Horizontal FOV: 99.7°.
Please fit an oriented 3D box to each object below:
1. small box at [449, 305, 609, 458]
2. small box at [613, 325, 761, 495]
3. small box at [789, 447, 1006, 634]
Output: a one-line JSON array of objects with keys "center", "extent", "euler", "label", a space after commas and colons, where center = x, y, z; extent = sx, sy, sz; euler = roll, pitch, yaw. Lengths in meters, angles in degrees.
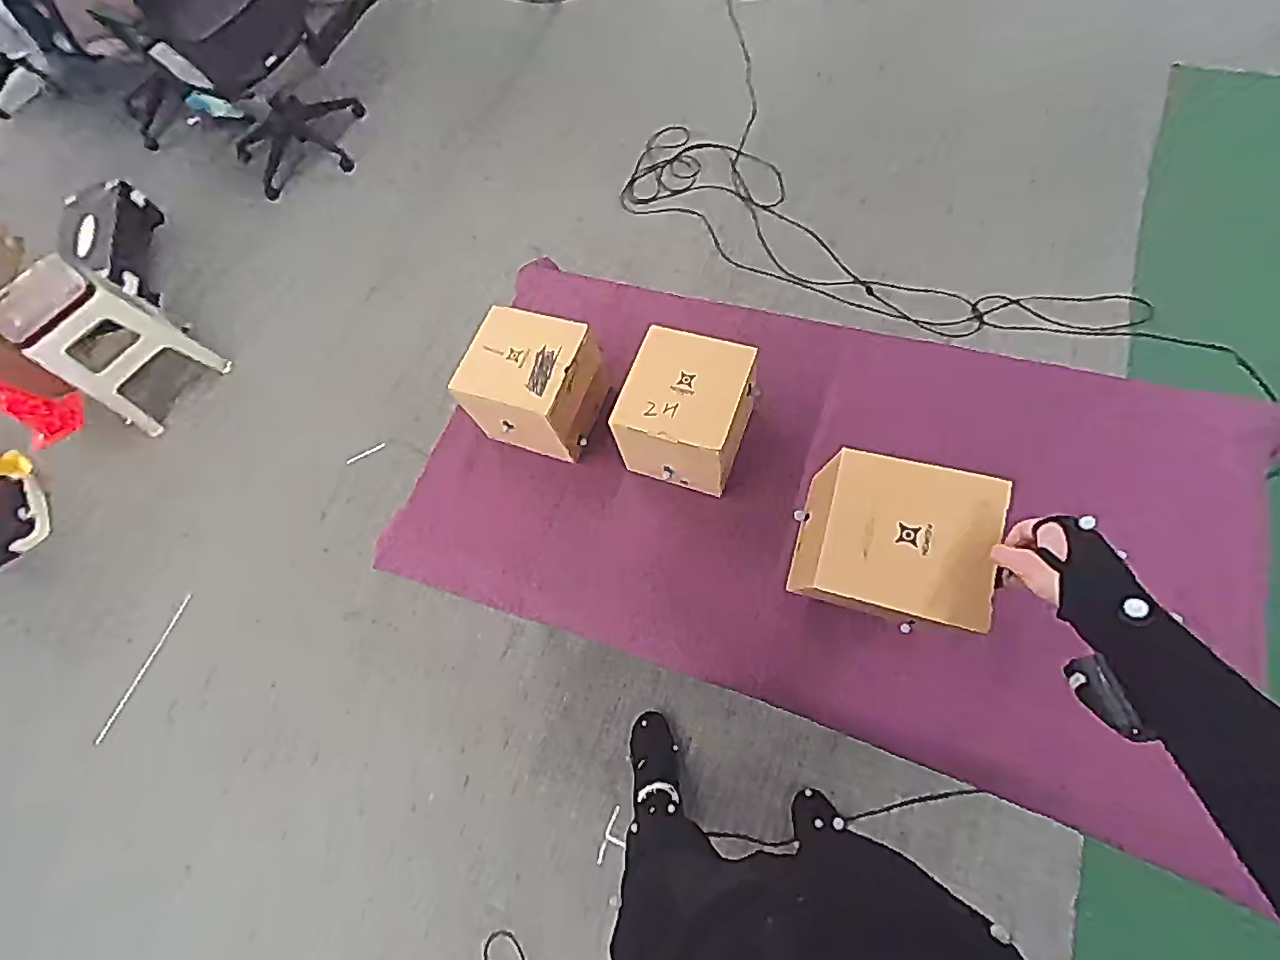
[{"center": [-0.167, -0.153, 0.886], "extent": [0.179, 0.176, 0.168], "euler": [17, 71, 16], "label": "small box"}, {"center": [0.076, -0.101, 0.827], "extent": [0.168, 0.176, 0.179], "euler": [17, 72, 16], "label": "small box"}, {"center": [0.299, 0.076, 0.661], "extent": [0.179, 0.176, 0.168], "euler": [15, 79, 9], "label": "small box"}]
